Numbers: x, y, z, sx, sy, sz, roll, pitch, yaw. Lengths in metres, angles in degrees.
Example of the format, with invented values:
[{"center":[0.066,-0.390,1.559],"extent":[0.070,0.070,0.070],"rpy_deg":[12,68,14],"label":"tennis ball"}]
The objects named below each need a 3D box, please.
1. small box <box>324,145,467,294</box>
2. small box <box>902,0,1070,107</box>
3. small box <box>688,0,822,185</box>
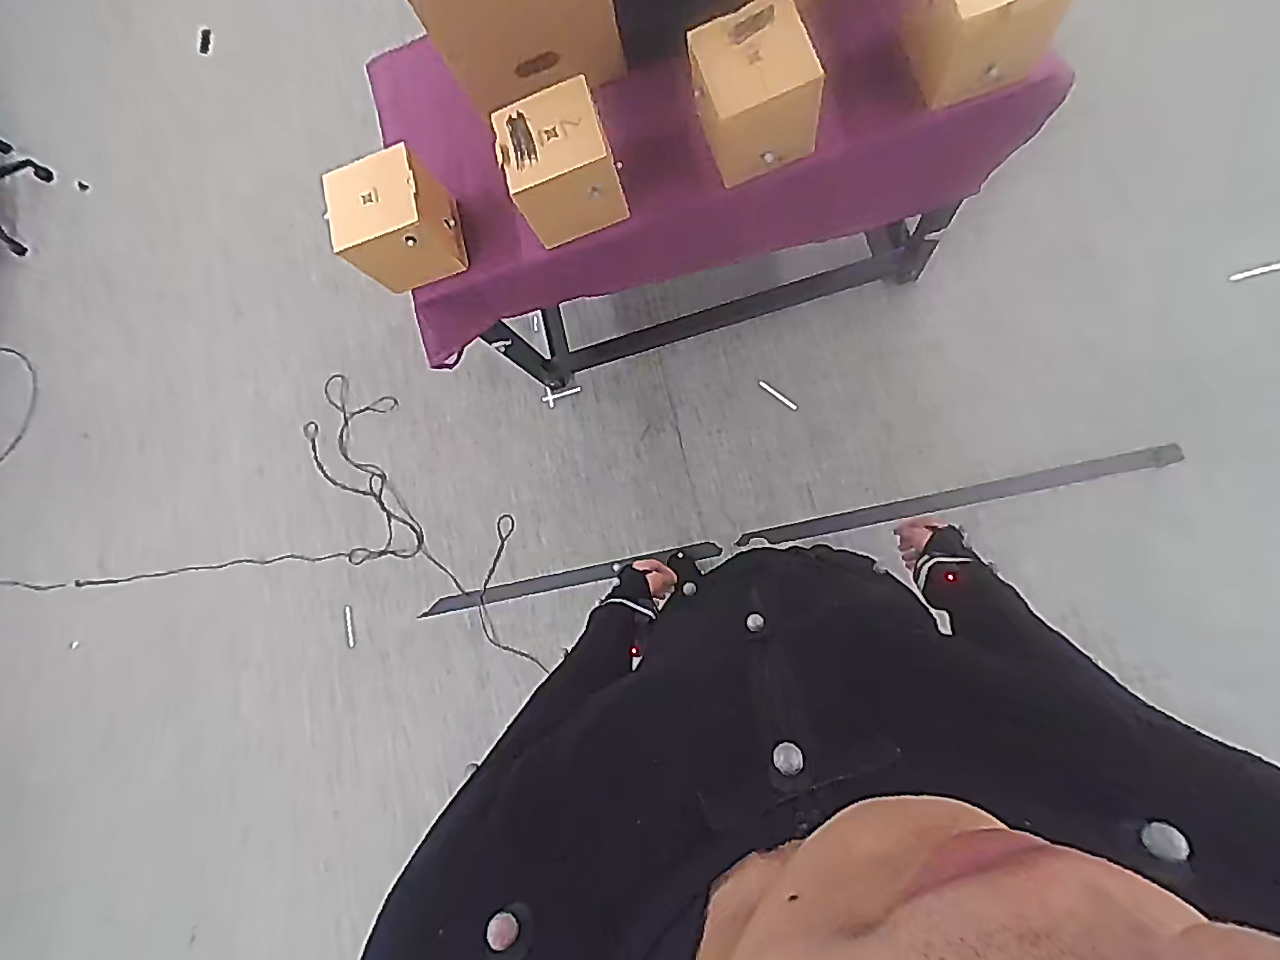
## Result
[{"center":[-0.462,-0.486,1.038],"extent":[0.179,0.176,0.168],"rpy_deg":[-16,79,9],"label":"small box"},{"center":[0.531,-0.743,0.845],"extent":[0.168,0.176,0.179],"rpy_deg":[-14,80,12],"label":"small box"},{"center":[0.190,-0.647,0.911],"extent":[0.168,0.176,0.179],"rpy_deg":[-19,80,10],"label":"small box"}]
